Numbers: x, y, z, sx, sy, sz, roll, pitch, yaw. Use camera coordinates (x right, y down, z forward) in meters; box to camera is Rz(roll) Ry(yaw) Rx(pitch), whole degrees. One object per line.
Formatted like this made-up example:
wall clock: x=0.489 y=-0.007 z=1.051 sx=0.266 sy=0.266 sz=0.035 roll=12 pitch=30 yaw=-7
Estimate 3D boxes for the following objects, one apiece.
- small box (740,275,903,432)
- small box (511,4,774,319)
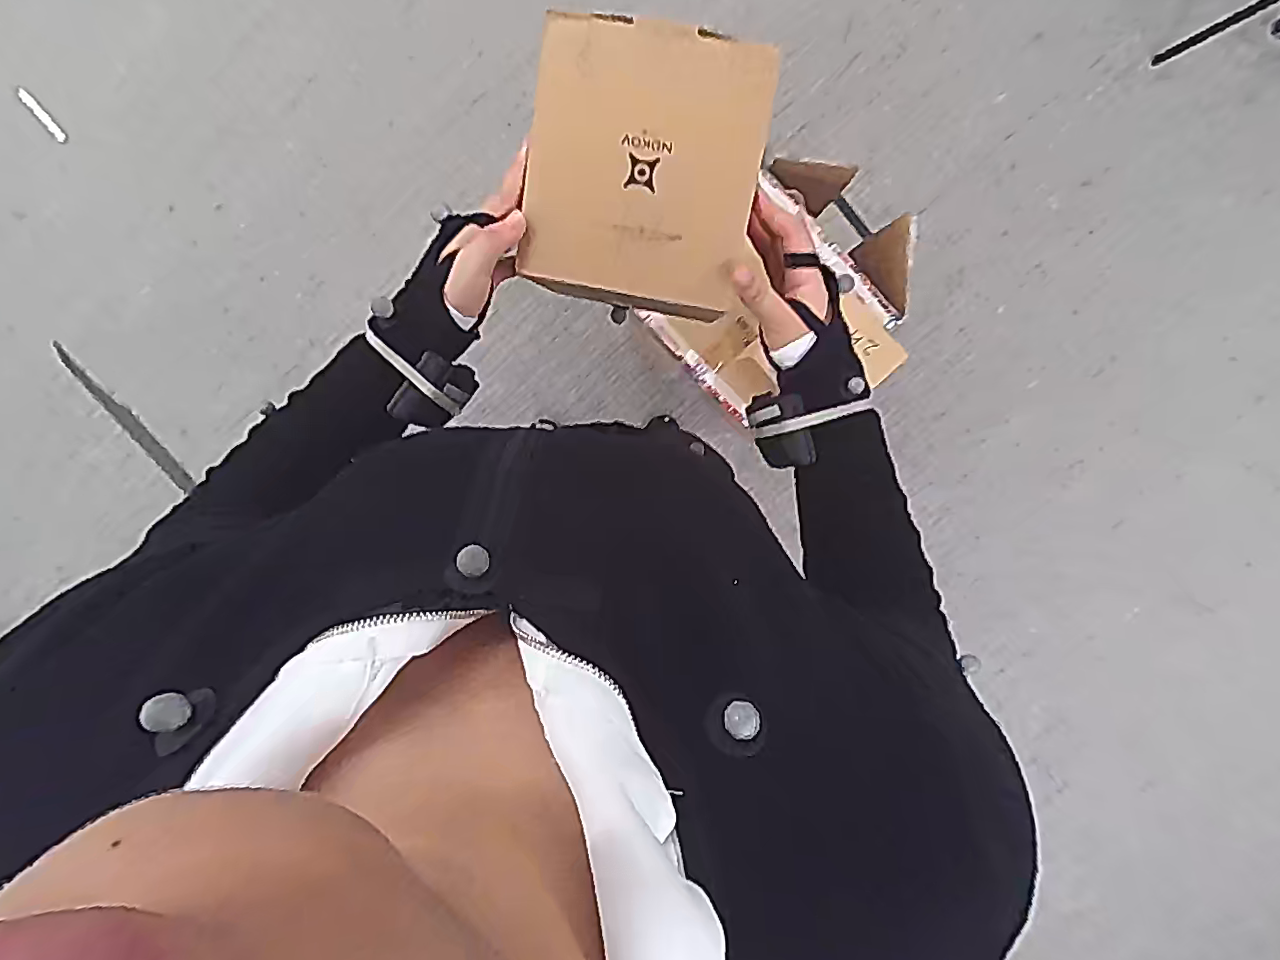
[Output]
small box: x=0.283 y=-0.201 z=0.894 sx=0.179 sy=0.176 sz=0.168 roll=-43 pitch=97 yaw=7
small box: x=0.001 y=-0.244 z=0.463 sx=0.168 sy=0.176 sz=0.179 roll=10 pitch=104 yaw=1
